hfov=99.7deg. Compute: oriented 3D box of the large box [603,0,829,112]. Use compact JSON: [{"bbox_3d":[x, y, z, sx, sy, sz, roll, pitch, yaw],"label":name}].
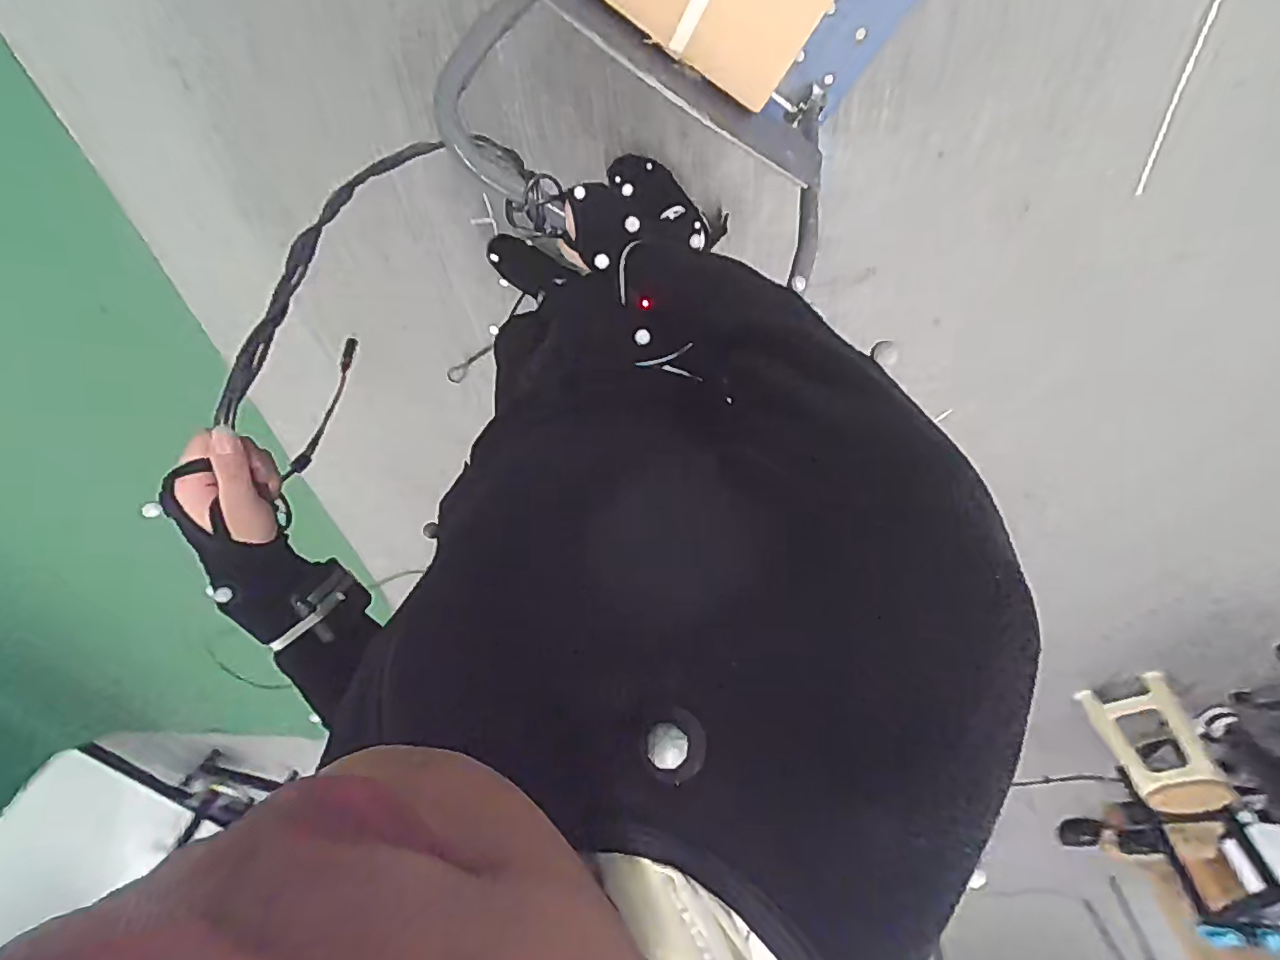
[{"bbox_3d":[0.162,-0.837,0.740,0.320,0.320,0.408,26,140,-18],"label":"large box"}]
